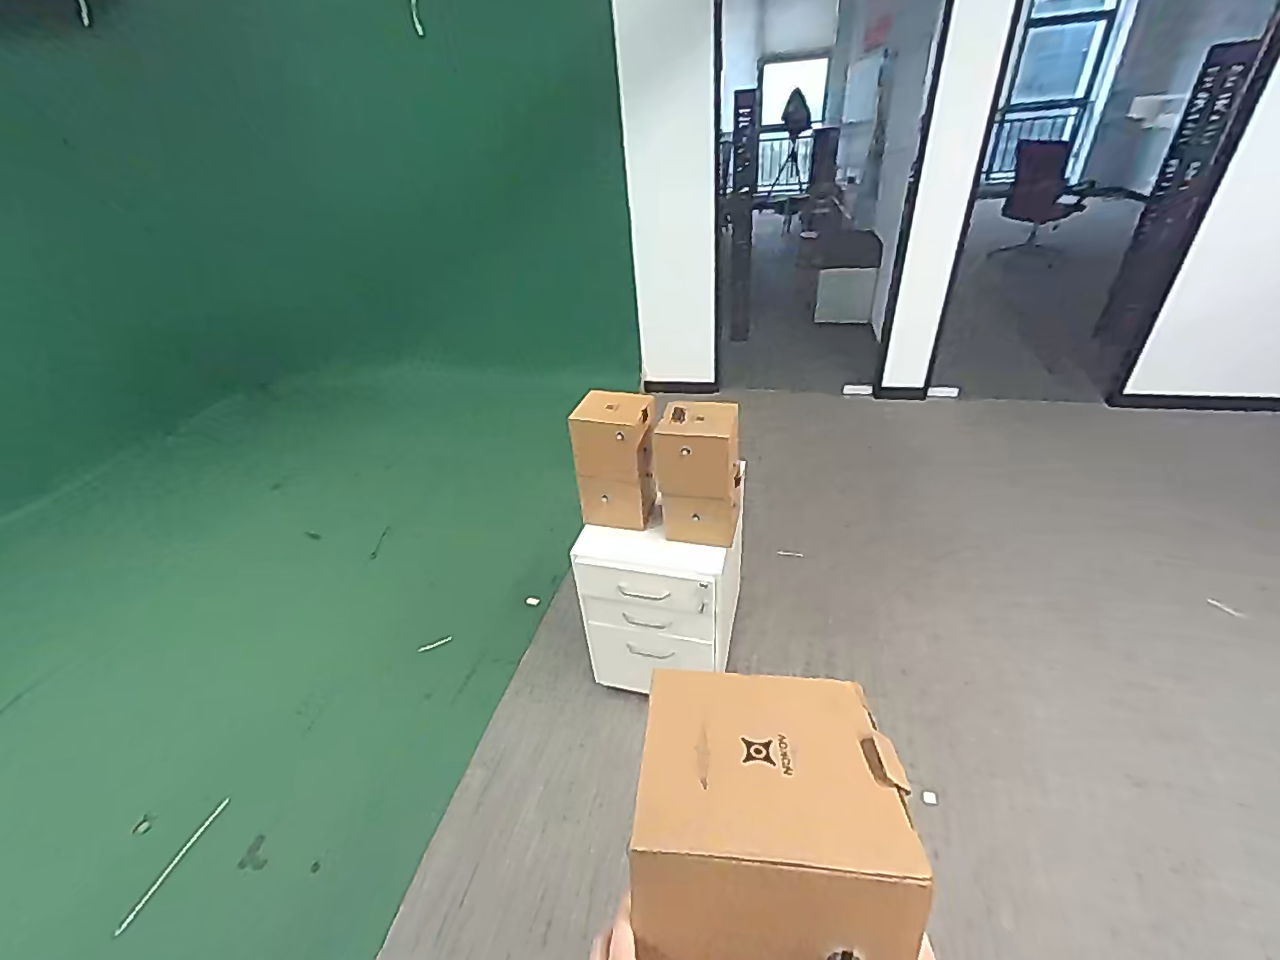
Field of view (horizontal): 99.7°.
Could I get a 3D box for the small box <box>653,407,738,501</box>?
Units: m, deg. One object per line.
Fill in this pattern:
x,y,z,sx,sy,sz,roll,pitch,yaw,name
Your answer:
0.141,-0.065,1.321,0.179,0.176,0.168,5,35,16,small box

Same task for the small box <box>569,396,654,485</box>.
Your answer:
-0.067,-0.103,1.406,0.179,0.176,0.168,8,35,14,small box

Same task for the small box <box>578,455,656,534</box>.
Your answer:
-0.057,0.031,1.500,0.179,0.176,0.168,6,35,13,small box

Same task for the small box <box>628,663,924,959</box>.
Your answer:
0.089,0.268,0.420,0.179,0.176,0.168,1,18,7,small box
